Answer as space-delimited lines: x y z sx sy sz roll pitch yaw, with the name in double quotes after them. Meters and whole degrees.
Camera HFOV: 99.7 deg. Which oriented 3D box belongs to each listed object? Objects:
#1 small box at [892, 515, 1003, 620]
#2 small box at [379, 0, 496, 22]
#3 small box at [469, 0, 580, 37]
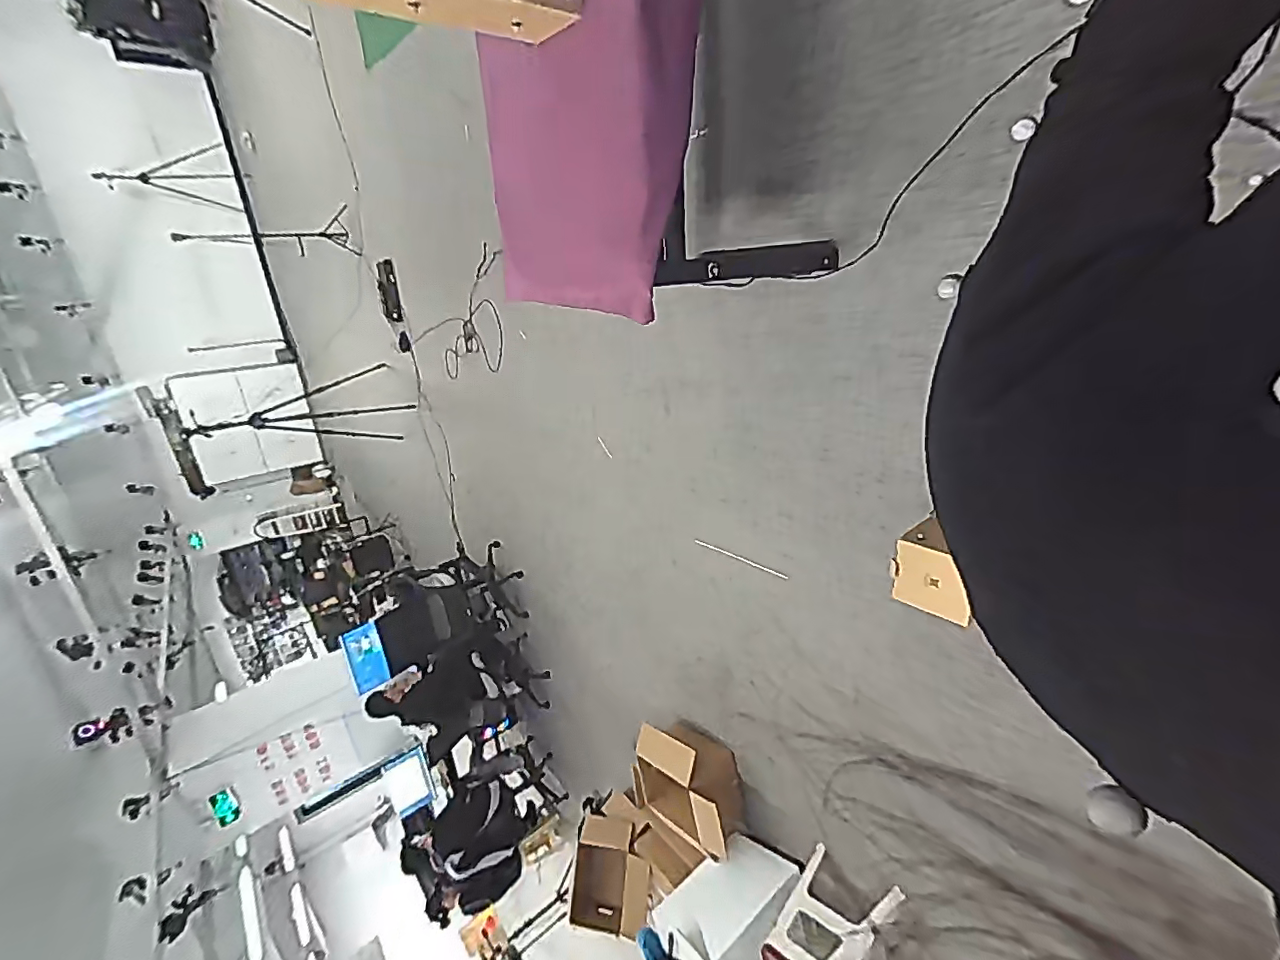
0.731 0.198 1.286 0.179 0.176 0.168 19 121 48 "small box"
-0.352 -0.925 0.926 0.179 0.176 0.168 22 123 46 "small box"
-0.221 -0.970 1.015 0.179 0.176 0.168 23 124 46 "small box"
